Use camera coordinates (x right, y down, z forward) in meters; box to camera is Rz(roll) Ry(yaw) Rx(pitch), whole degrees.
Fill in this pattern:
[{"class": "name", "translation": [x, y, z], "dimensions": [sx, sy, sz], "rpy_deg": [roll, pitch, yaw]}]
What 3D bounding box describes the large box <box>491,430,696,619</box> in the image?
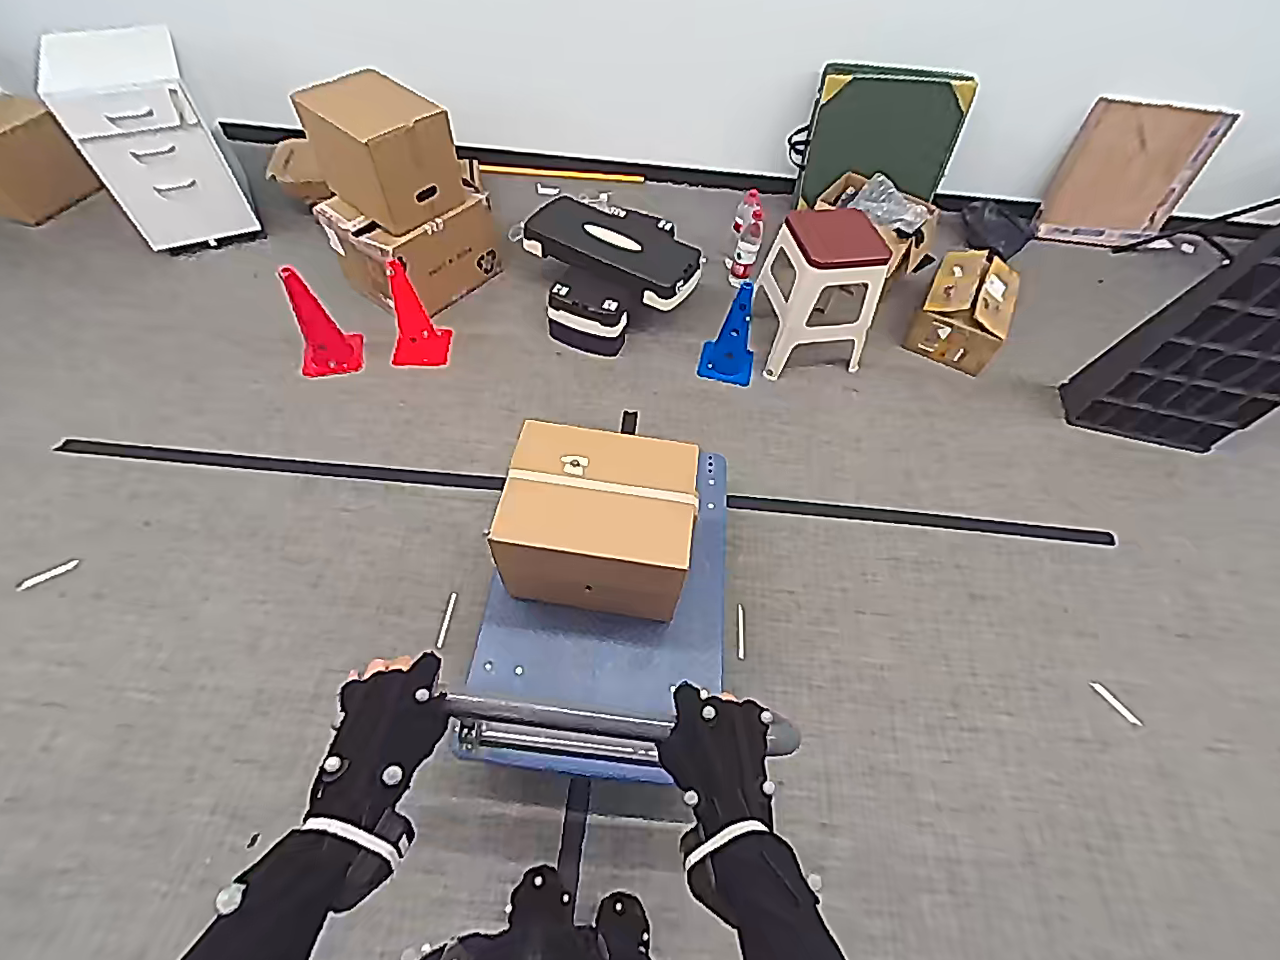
[{"class": "large box", "translation": [-0.091, 0.115, 1.288], "dimensions": [0.408, 0.320, 0.320], "rpy_deg": [8, 56, 2]}]
